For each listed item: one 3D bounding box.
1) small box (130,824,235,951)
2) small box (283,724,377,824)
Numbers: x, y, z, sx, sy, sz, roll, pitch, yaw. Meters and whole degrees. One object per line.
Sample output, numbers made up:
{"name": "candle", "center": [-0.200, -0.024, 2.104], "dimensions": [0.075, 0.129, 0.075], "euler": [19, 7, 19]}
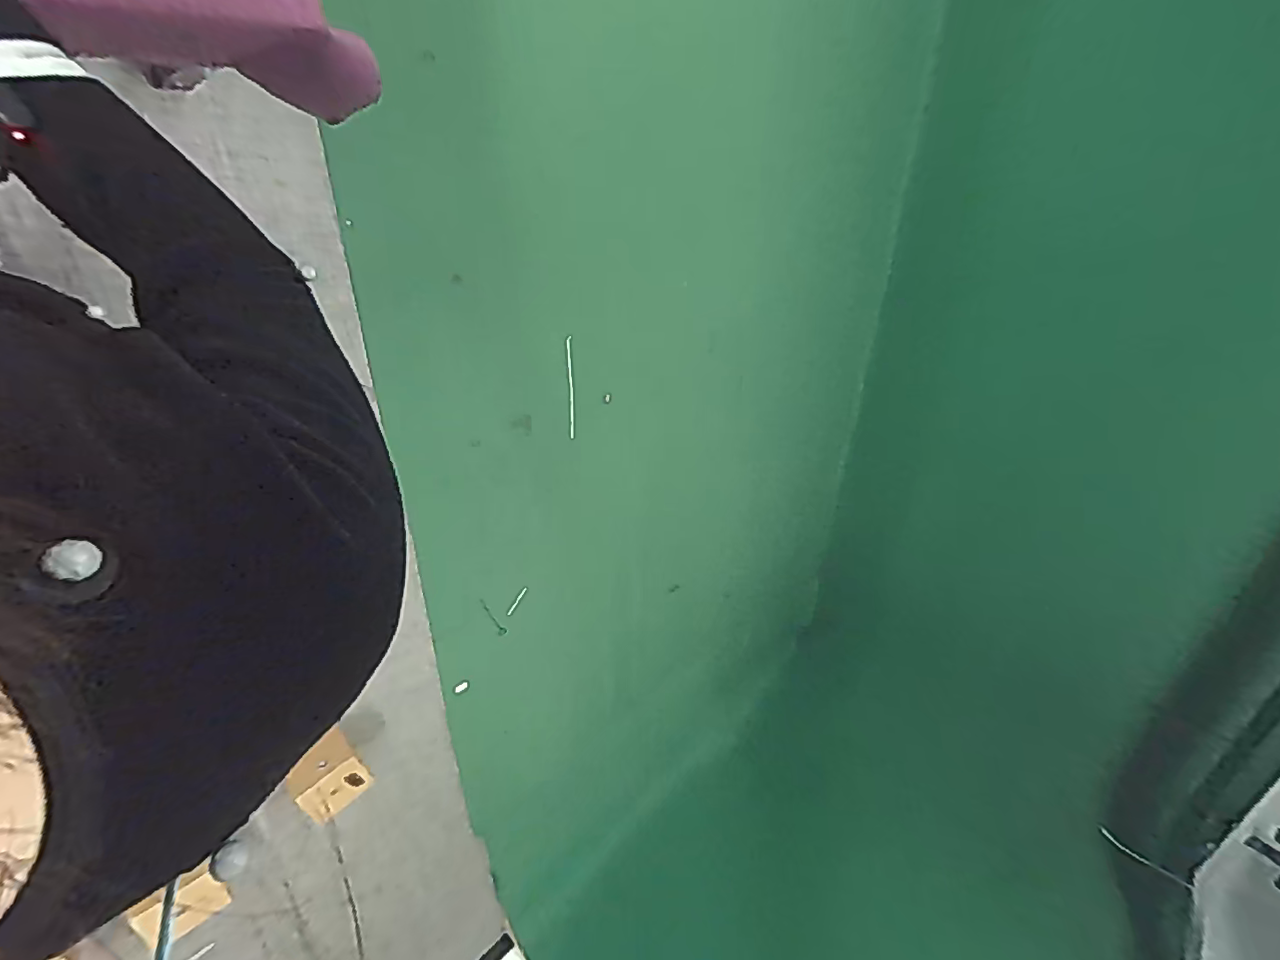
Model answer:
{"name": "small box", "center": [-1.237, 1.090, 1.459], "dimensions": [0.179, 0.176, 0.168], "euler": [-23, 127, -39]}
{"name": "small box", "center": [-0.956, 0.898, 1.666], "dimensions": [0.179, 0.176, 0.168], "euler": [-34, 132, -30]}
